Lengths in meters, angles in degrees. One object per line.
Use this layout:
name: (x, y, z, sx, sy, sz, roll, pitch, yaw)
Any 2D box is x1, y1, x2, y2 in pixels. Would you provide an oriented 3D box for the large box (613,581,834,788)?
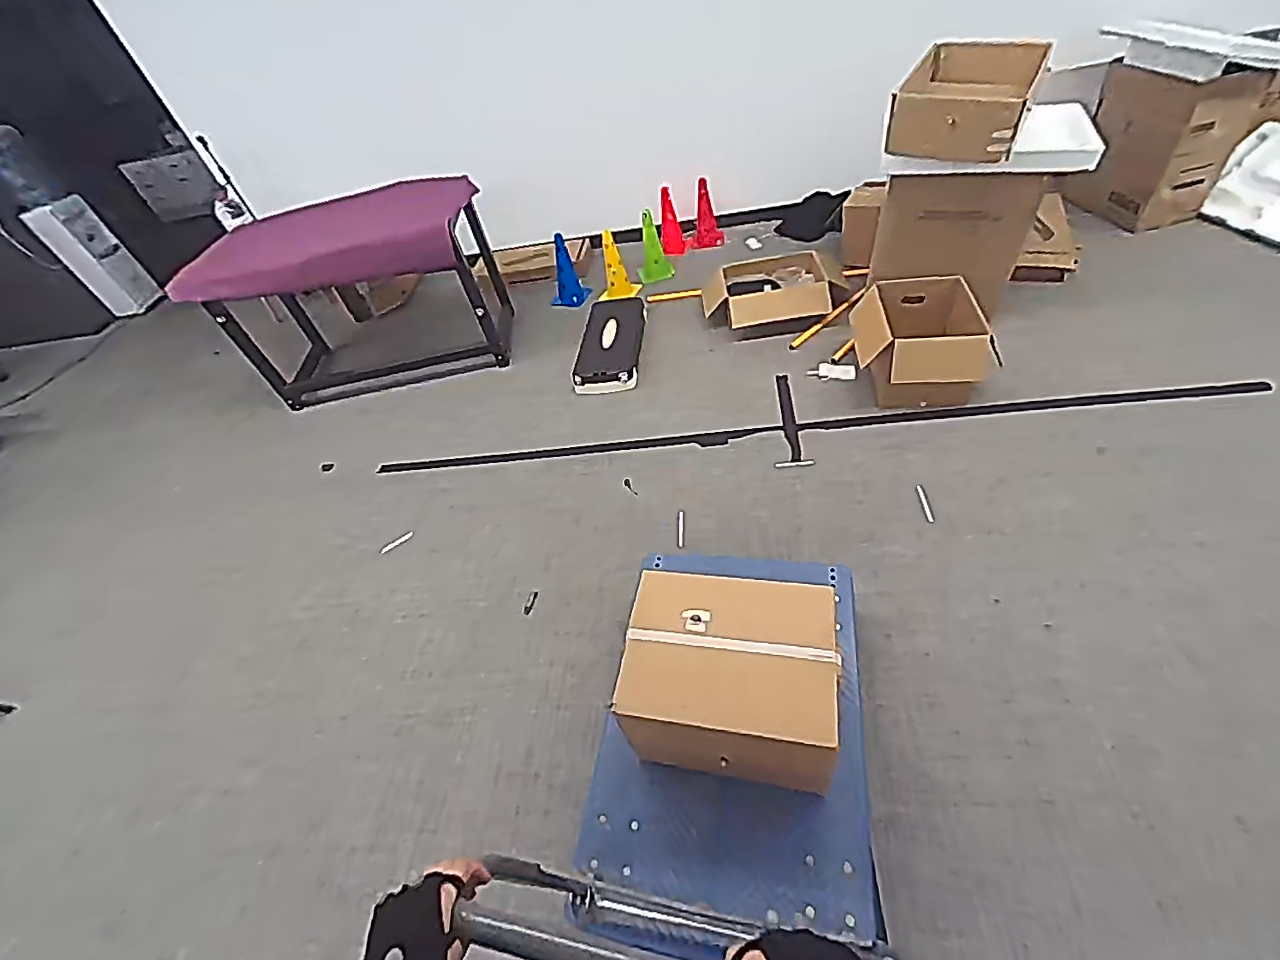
large box: (0.197, 0.439, 1.175, 0.408, 0.320, 0.320, 1, 47, 16)
